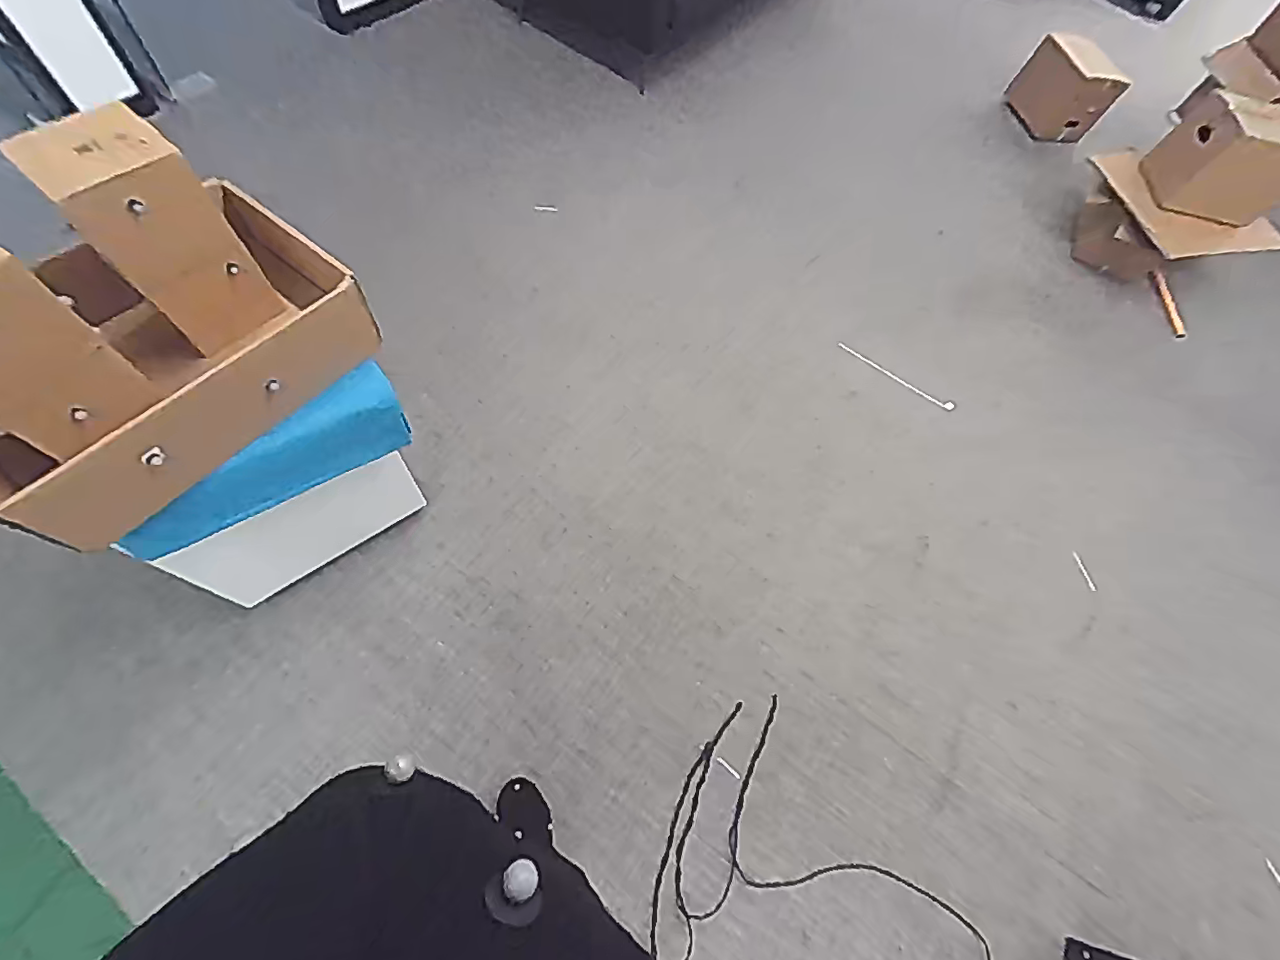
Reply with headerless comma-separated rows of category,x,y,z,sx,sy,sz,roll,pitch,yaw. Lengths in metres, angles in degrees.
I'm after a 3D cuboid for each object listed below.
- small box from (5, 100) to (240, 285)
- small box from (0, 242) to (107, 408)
small box,-0.795,-0.445,0.852,0.168,0.176,0.179,40,65,12
small box,-0.905,-0.226,0.729,0.168,0.176,0.179,31,63,9
